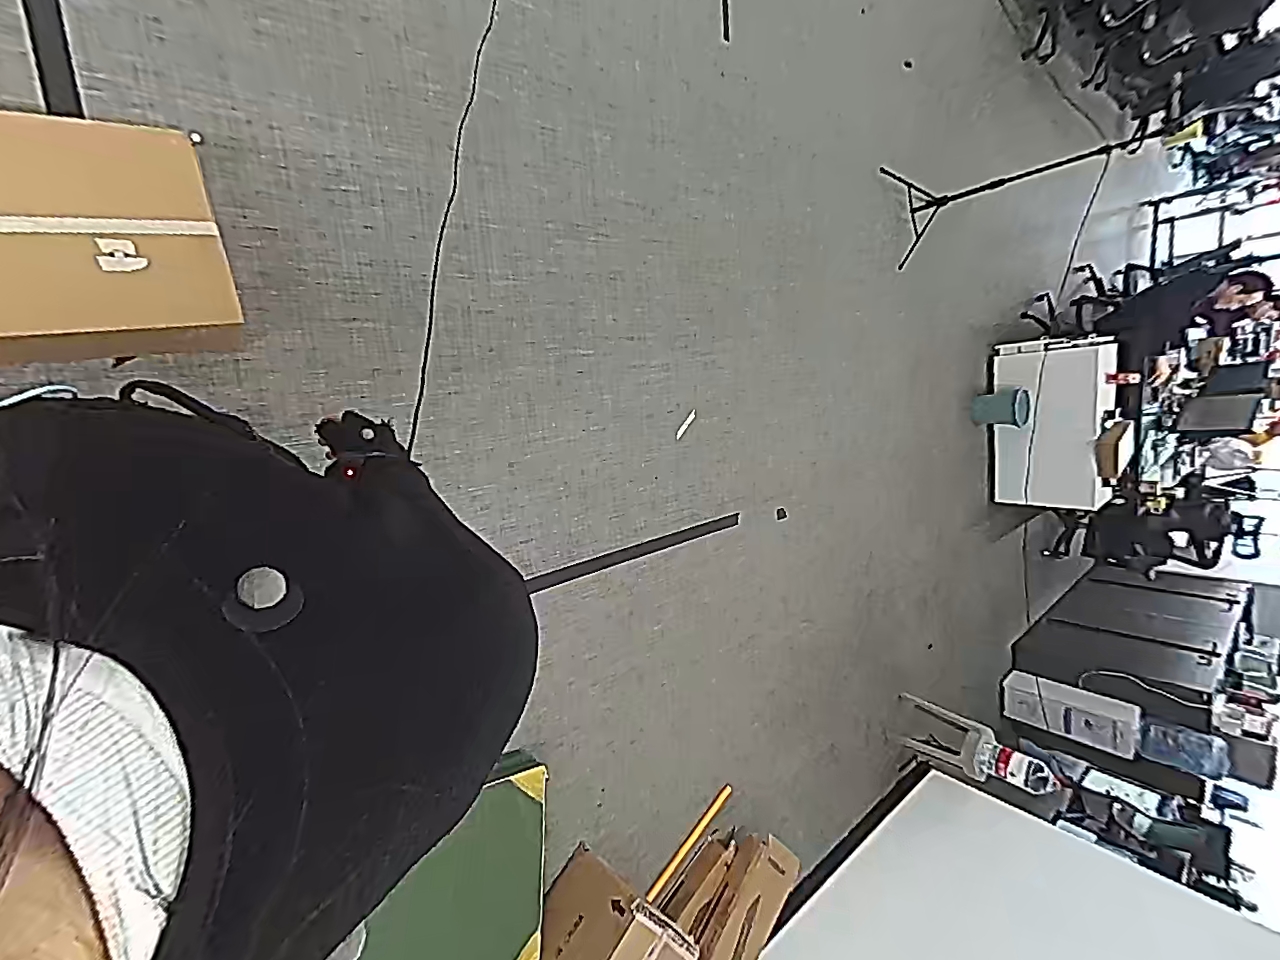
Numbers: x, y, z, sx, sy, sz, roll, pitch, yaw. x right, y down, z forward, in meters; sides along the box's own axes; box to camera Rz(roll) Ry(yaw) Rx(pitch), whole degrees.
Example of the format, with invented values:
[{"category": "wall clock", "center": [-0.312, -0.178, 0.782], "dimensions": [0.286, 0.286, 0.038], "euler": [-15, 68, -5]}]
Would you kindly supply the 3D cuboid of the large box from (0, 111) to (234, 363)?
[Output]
[{"category": "large box", "center": [-0.987, -0.392, 0.927], "dimensions": [0.408, 0.320, 0.320], "euler": [-17, 104, -36]}]
